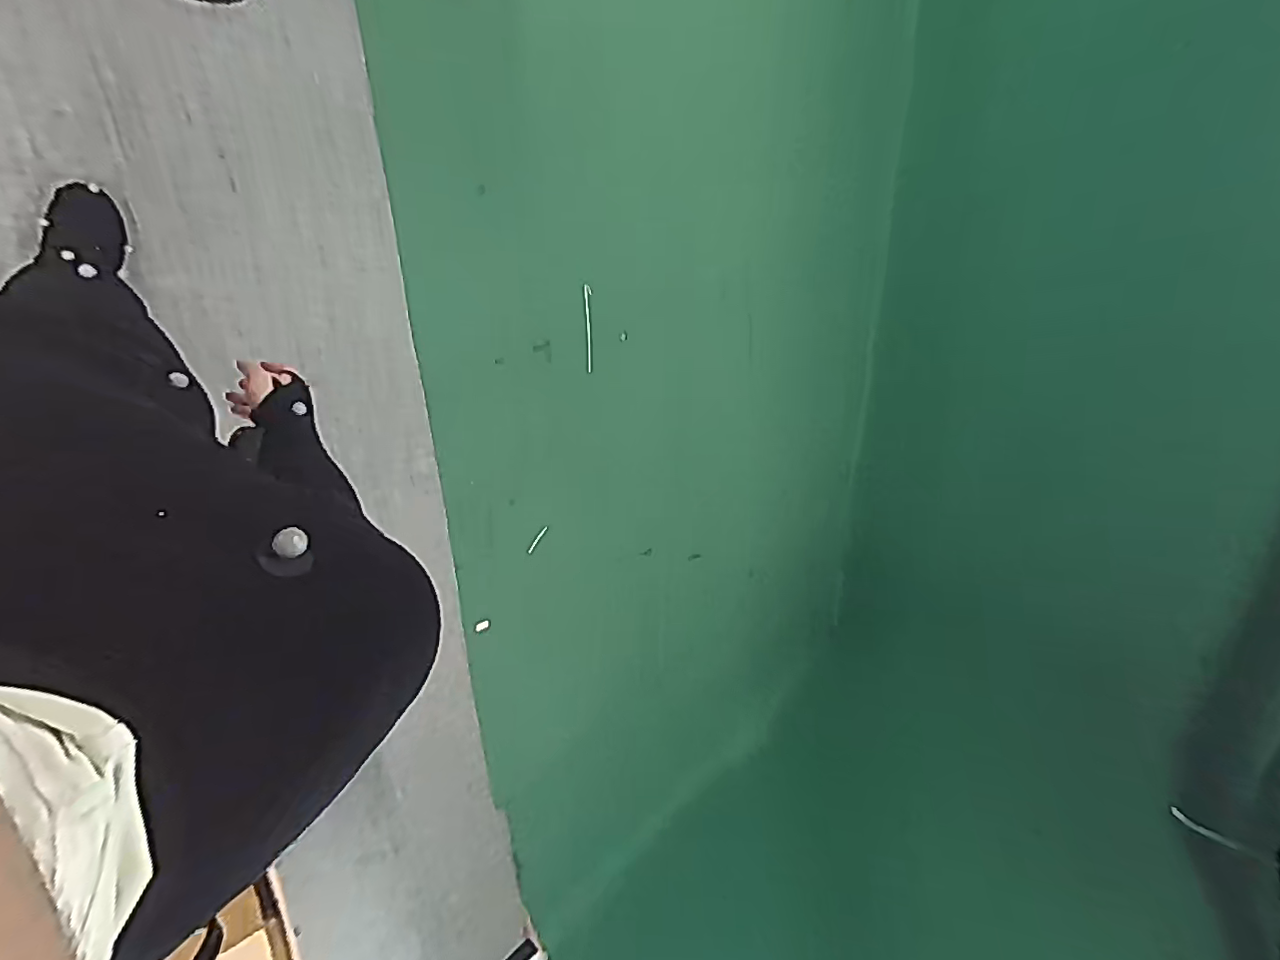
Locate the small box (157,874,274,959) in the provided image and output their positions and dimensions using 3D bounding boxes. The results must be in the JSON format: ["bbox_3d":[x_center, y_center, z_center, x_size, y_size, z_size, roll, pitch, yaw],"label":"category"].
[{"bbox_3d":[-0.887,0.981,1.135,0.168,0.176,0.179,-14,114,-41],"label":"small box"}]
